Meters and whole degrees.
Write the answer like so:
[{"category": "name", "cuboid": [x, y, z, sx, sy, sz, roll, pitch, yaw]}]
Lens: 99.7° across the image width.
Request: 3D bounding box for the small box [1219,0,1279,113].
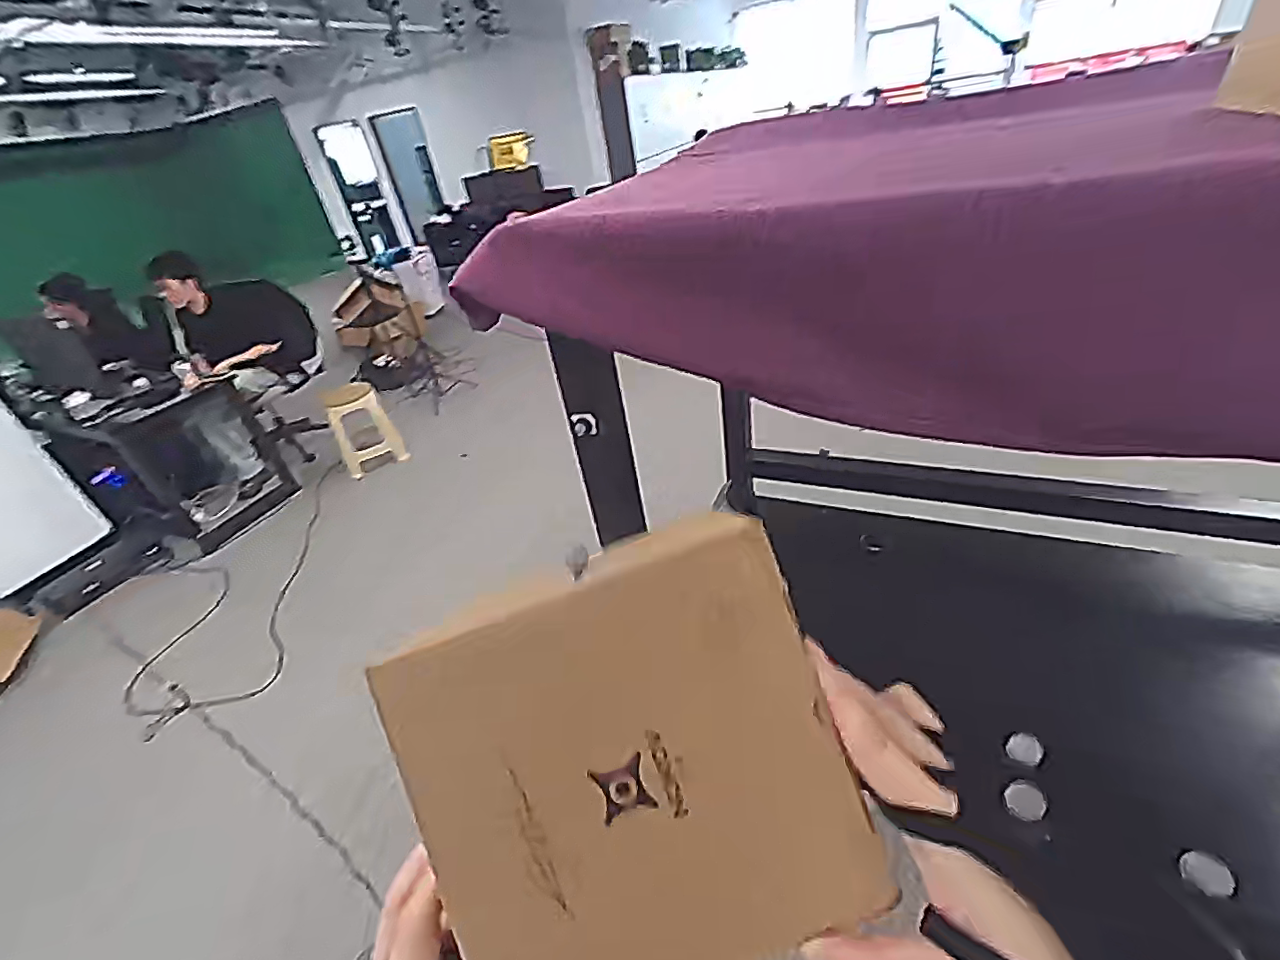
[{"category": "small box", "cuboid": [0.524, -0.334, 0.326, 0.168, 0.176, 0.179, 4, 36, 21]}]
